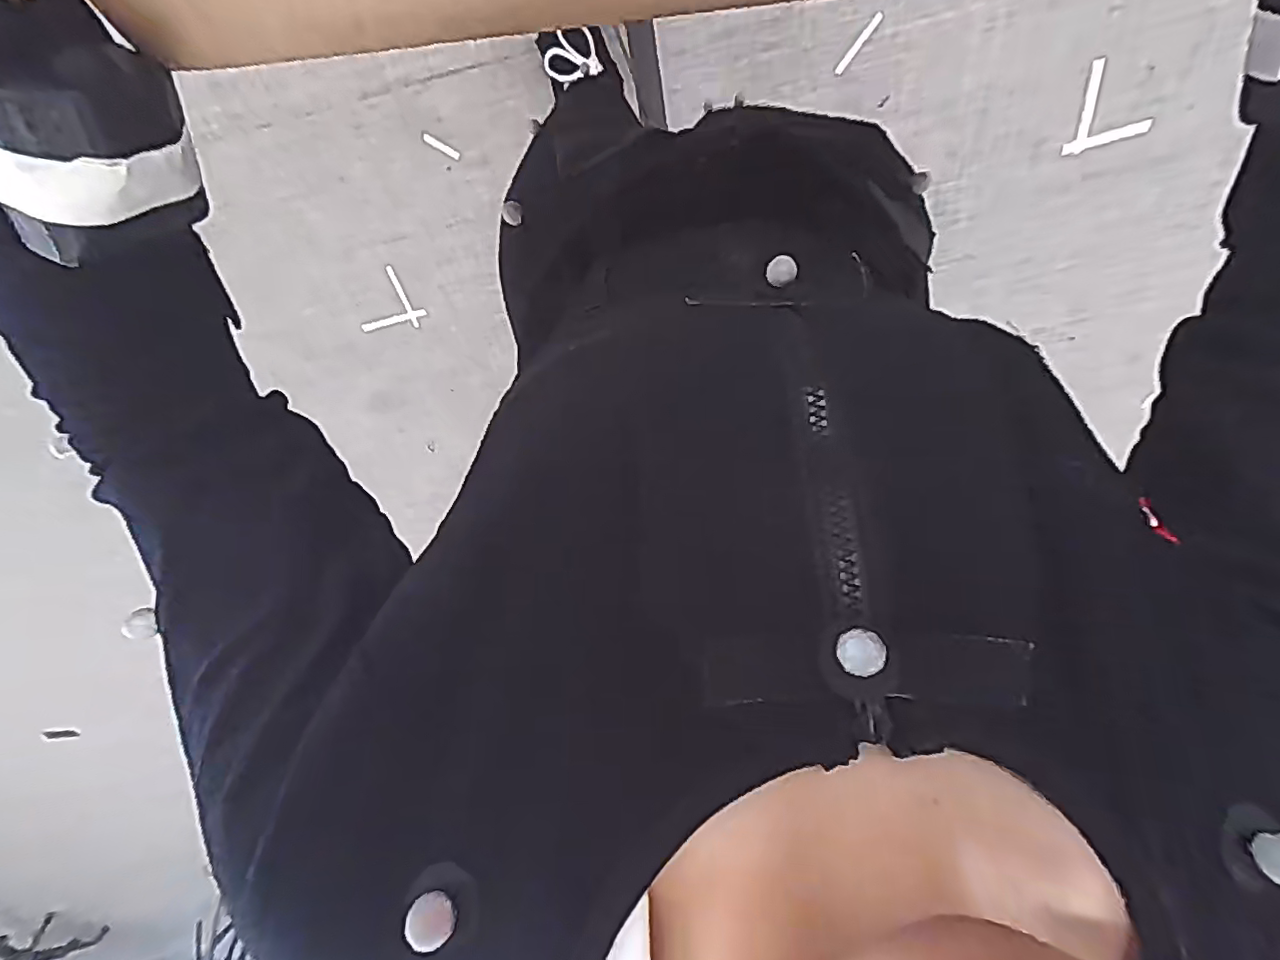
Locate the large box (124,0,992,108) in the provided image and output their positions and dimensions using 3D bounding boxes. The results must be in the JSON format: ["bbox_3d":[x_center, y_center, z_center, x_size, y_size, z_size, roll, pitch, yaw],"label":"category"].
[{"bbox_3d":[0.000,-0.363,0.117,0.408,0.320,0.320,-8,162,-1],"label":"large box"}]
